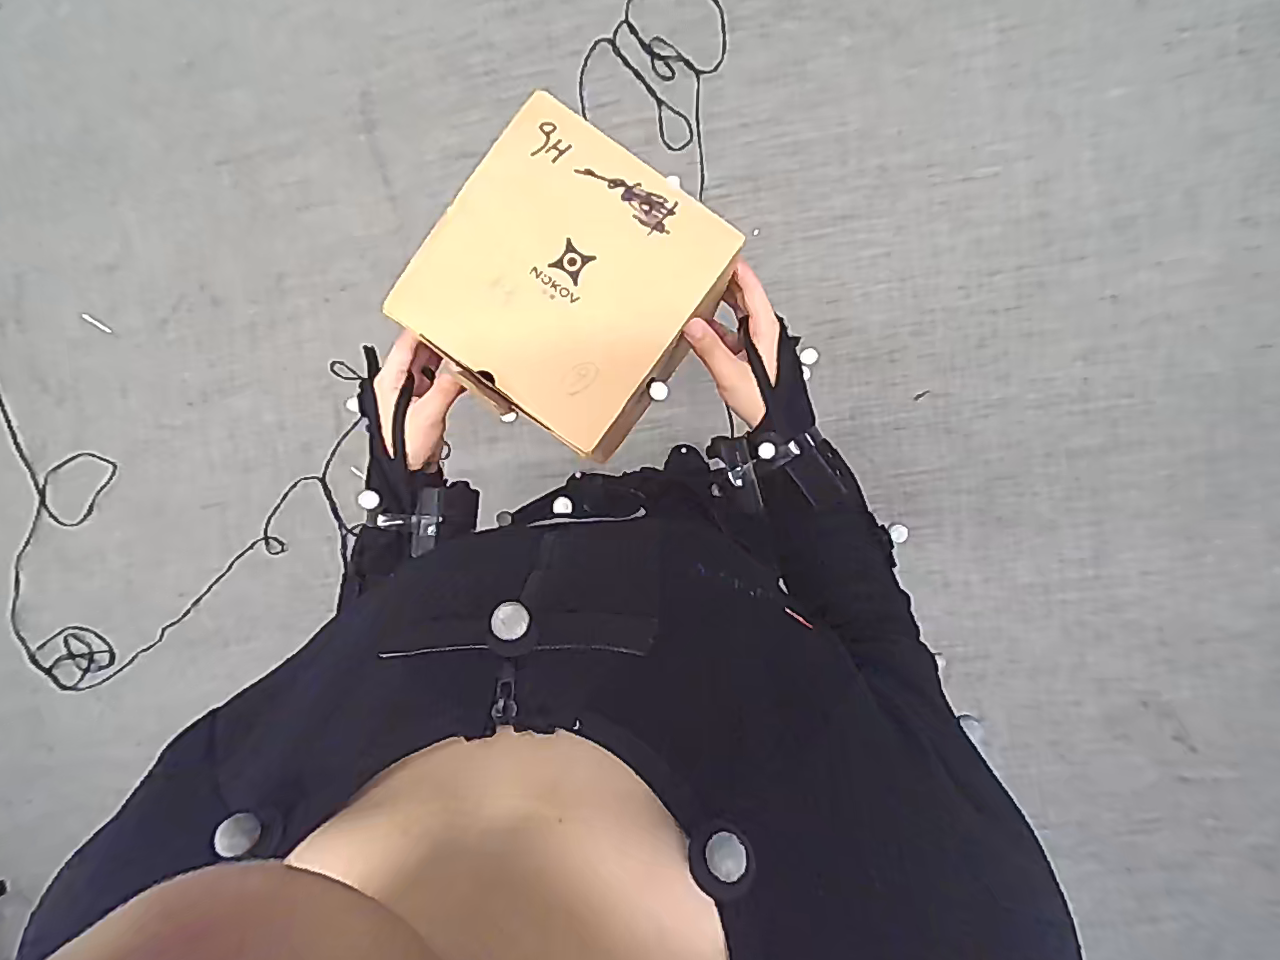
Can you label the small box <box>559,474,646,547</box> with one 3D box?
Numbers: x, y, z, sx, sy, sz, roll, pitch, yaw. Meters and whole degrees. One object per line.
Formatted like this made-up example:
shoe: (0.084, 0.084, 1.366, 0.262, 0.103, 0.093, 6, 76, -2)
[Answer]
small box: (-0.091, 0.073, 1.332, 0.179, 0.176, 0.168, 2, 89, 16)
